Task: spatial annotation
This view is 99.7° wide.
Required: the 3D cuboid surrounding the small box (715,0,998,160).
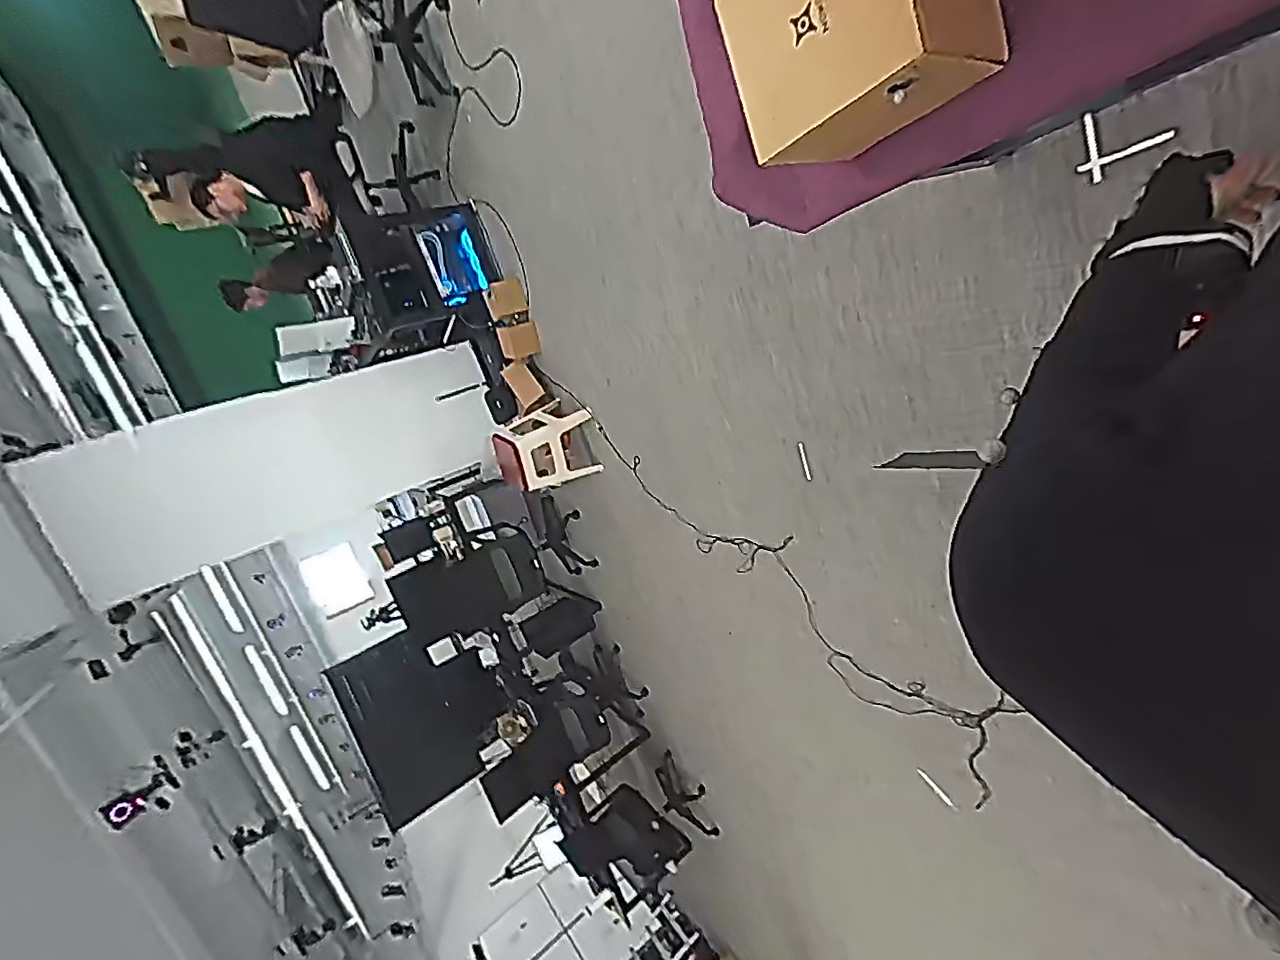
[{"bbox_3d":[0.209,-0.443,0.530,0.179,0.176,0.168,-6,107,55],"label":"small box"}]
